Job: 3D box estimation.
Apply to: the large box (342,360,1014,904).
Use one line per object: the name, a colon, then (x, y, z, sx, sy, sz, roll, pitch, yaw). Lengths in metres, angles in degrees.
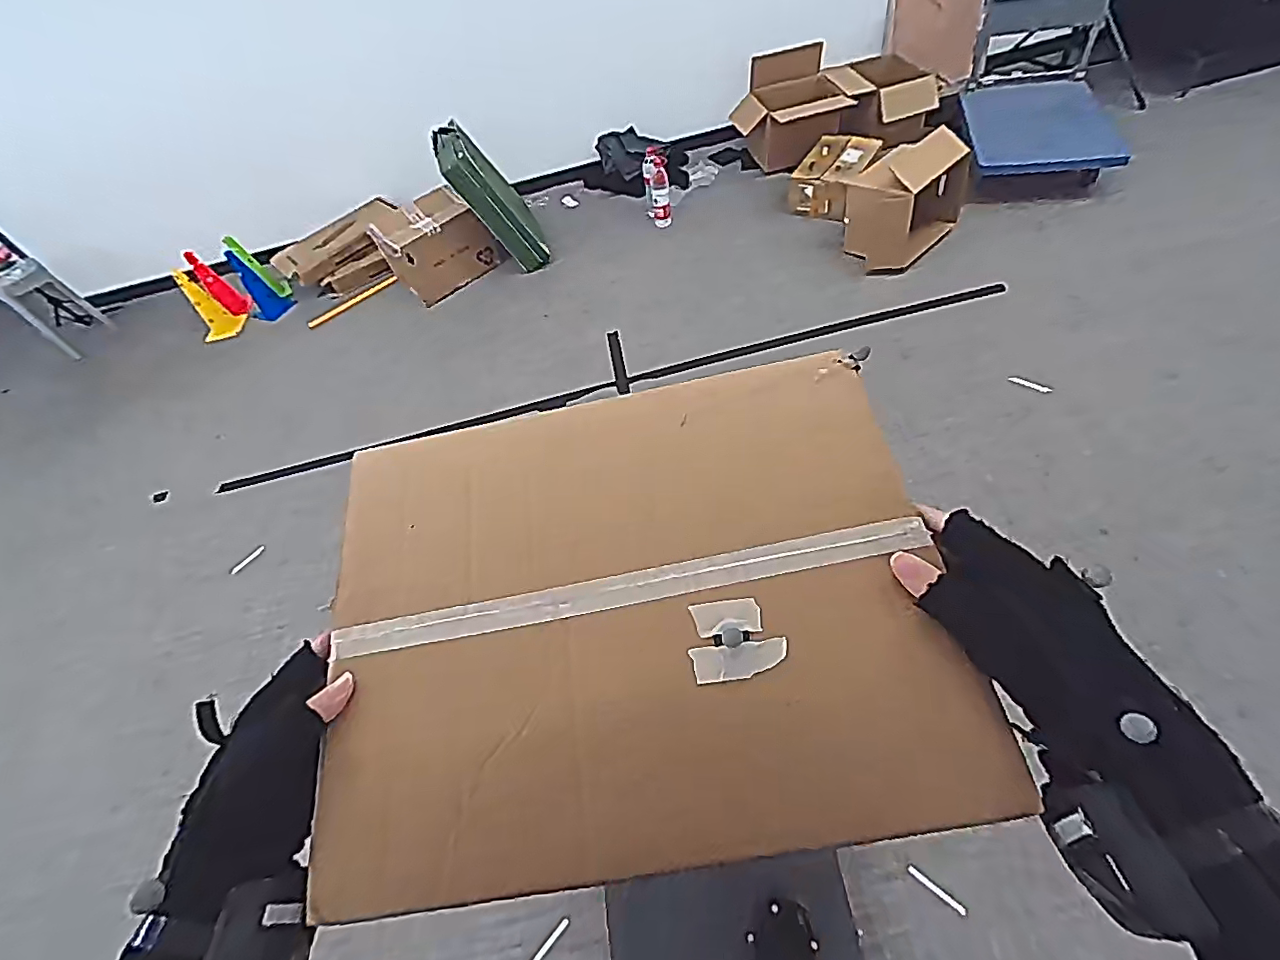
large box: (0.012, 0.141, 0.508, 0.408, 0.320, 0.320, -11, 63, 3)
